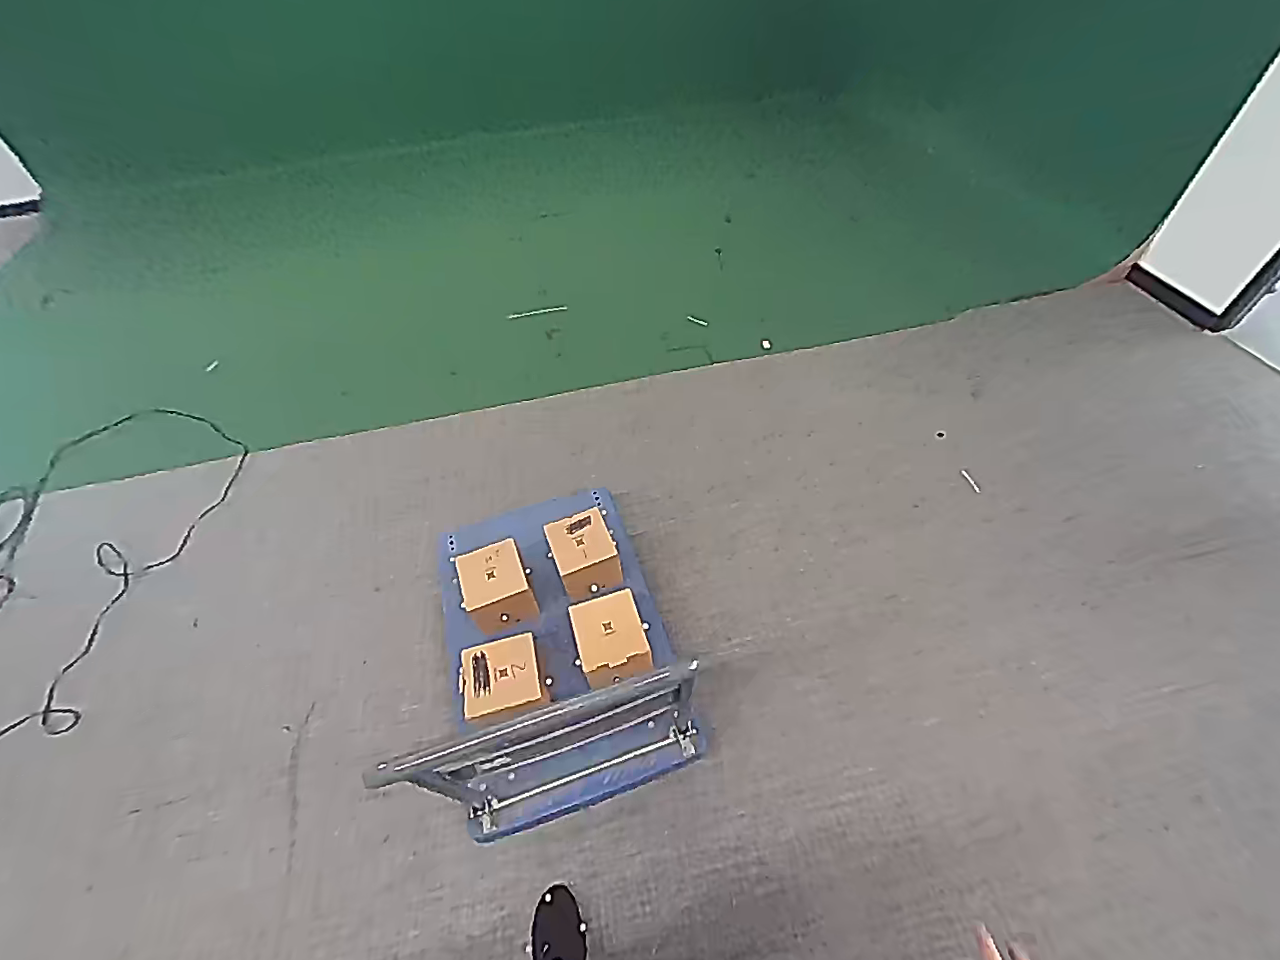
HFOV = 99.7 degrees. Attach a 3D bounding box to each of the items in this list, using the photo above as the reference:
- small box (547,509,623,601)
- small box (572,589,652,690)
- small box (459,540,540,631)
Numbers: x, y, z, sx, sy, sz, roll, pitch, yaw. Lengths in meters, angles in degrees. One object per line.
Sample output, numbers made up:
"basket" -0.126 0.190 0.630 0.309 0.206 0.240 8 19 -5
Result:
"small box" -0.158 0.219 1.568 0.168 0.176 0.179 -20 54 -10
"small box" -0.072 0.417 1.406 0.168 0.176 0.179 -16 52 -8
"small box" -0.390 0.303 1.520 0.168 0.176 0.179 -19 53 -12
